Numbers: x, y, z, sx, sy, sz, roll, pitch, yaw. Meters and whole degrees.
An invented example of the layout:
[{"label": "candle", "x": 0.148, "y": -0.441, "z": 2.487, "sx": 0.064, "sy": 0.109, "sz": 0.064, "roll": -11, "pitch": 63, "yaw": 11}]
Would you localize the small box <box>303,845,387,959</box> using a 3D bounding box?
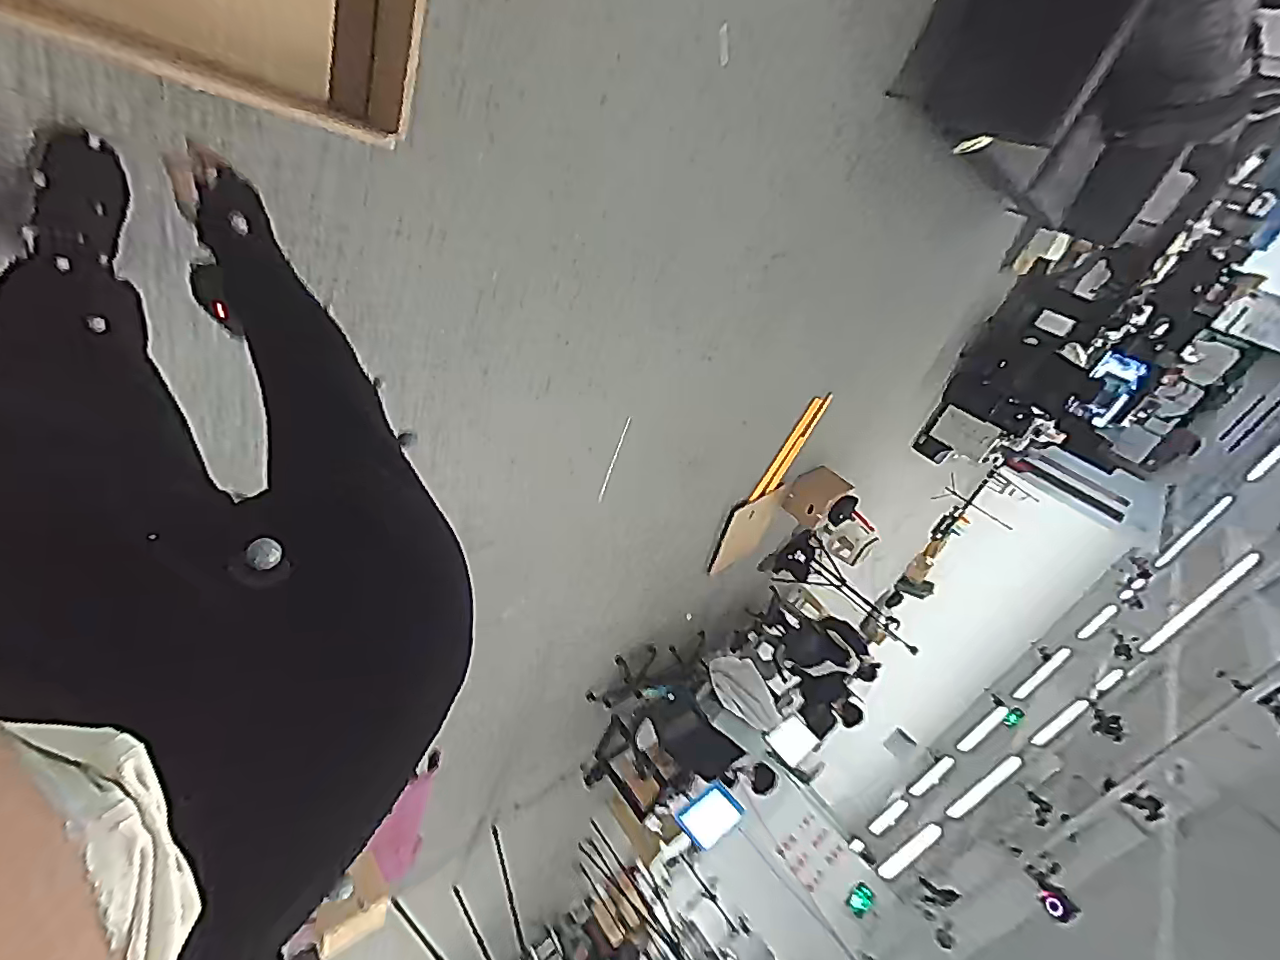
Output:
[{"label": "small box", "x": -0.847, "y": 1.198, "z": 1.546, "sx": 0.168, "sy": 0.176, "sz": 0.179, "roll": -9, "pitch": 131, "yaw": -45}]
